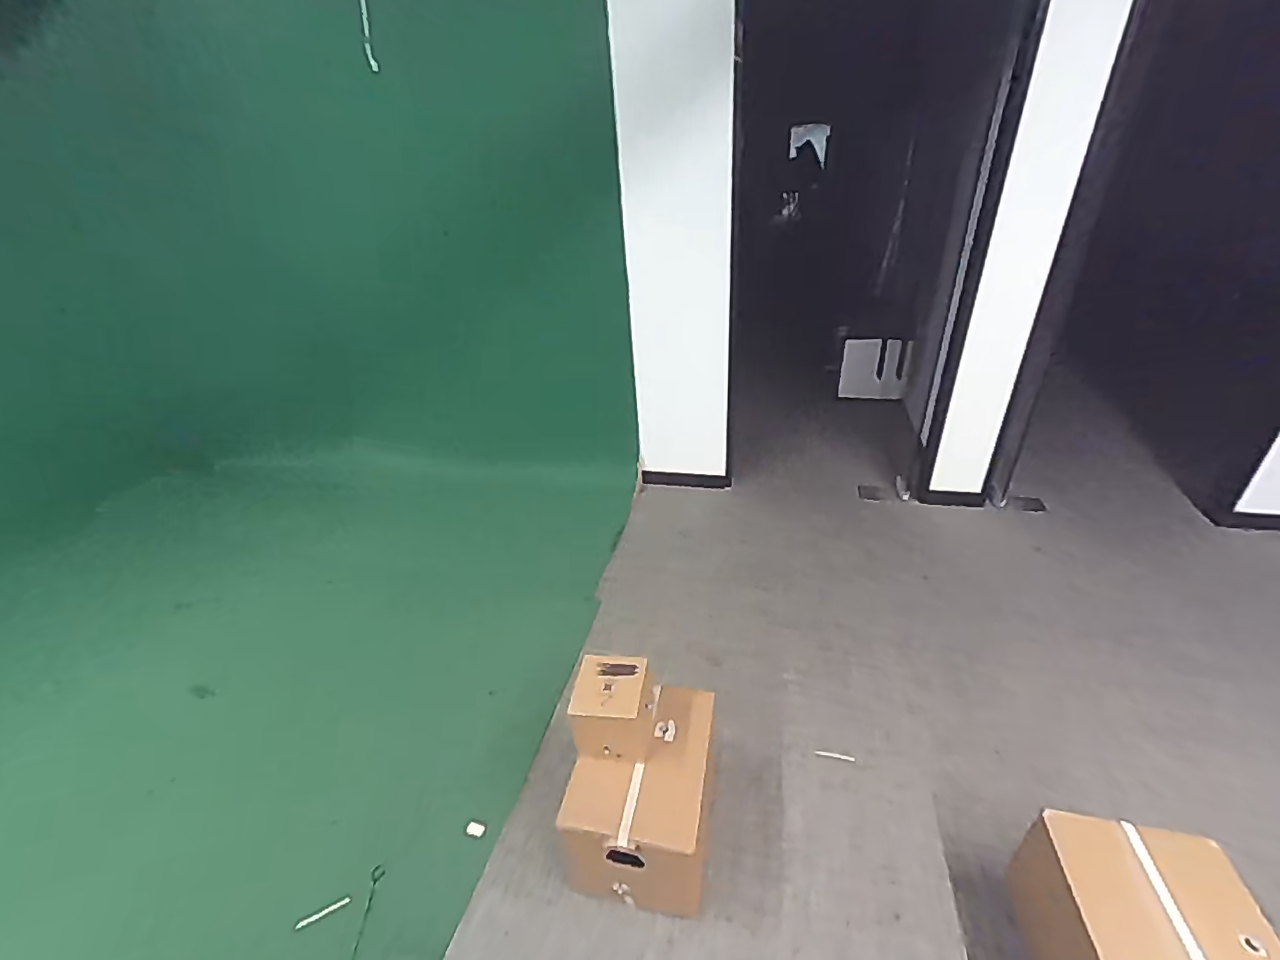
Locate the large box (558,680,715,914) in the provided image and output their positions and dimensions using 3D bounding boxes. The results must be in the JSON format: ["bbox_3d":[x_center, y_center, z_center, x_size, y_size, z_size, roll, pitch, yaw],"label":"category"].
[{"bbox_3d":[0.019,0.795,1.394,0.320,0.320,0.408,3,31,13],"label":"large box"}]
